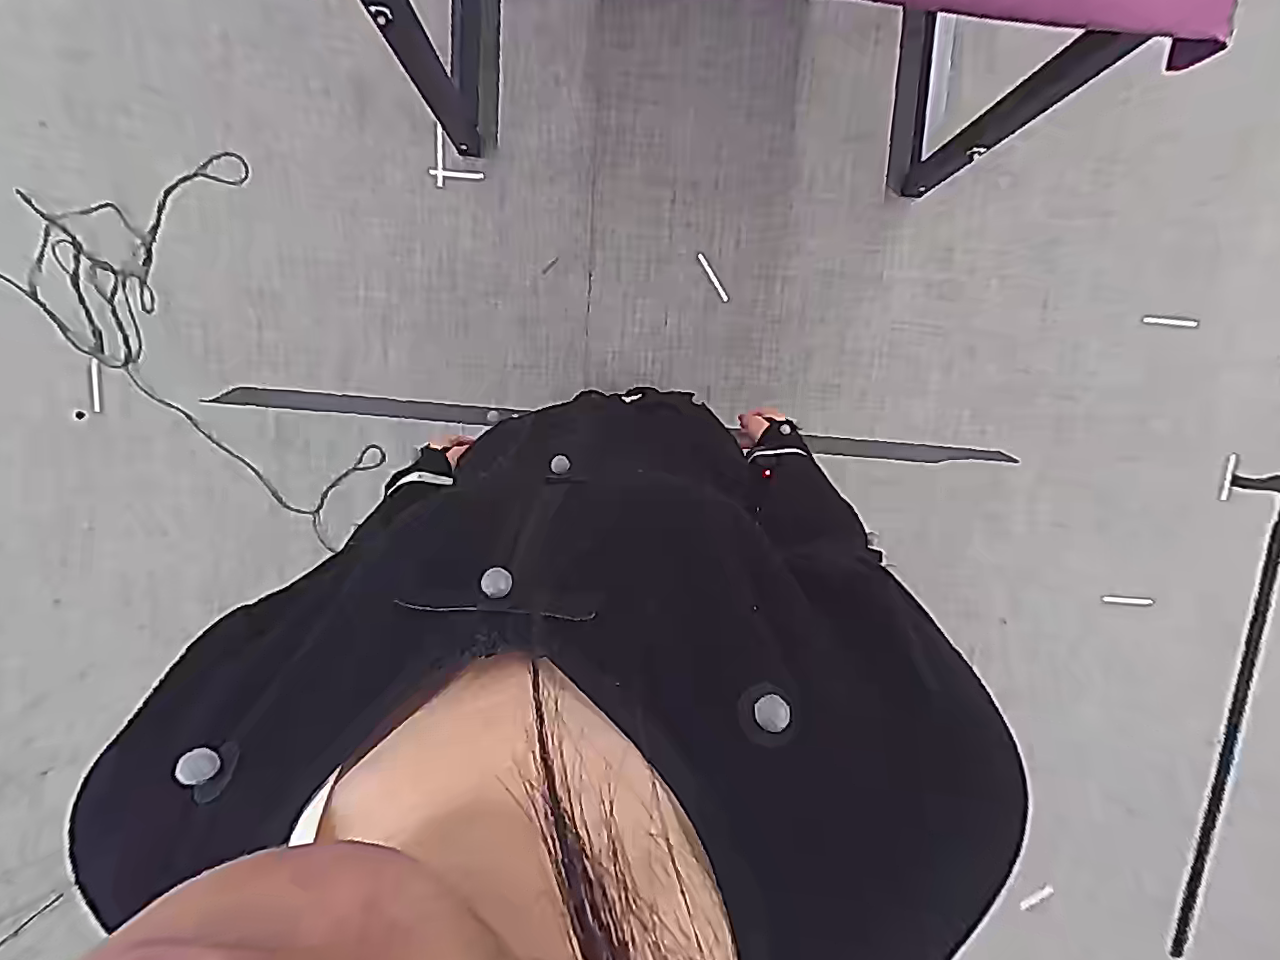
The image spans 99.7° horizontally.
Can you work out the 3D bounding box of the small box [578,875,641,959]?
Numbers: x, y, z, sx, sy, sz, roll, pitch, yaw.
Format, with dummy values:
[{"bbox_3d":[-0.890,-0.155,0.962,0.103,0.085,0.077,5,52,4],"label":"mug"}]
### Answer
[{"bbox_3d":[-0.091,1.311,1.594,0.168,0.176,0.179,6,99,-2],"label":"small box"}]
